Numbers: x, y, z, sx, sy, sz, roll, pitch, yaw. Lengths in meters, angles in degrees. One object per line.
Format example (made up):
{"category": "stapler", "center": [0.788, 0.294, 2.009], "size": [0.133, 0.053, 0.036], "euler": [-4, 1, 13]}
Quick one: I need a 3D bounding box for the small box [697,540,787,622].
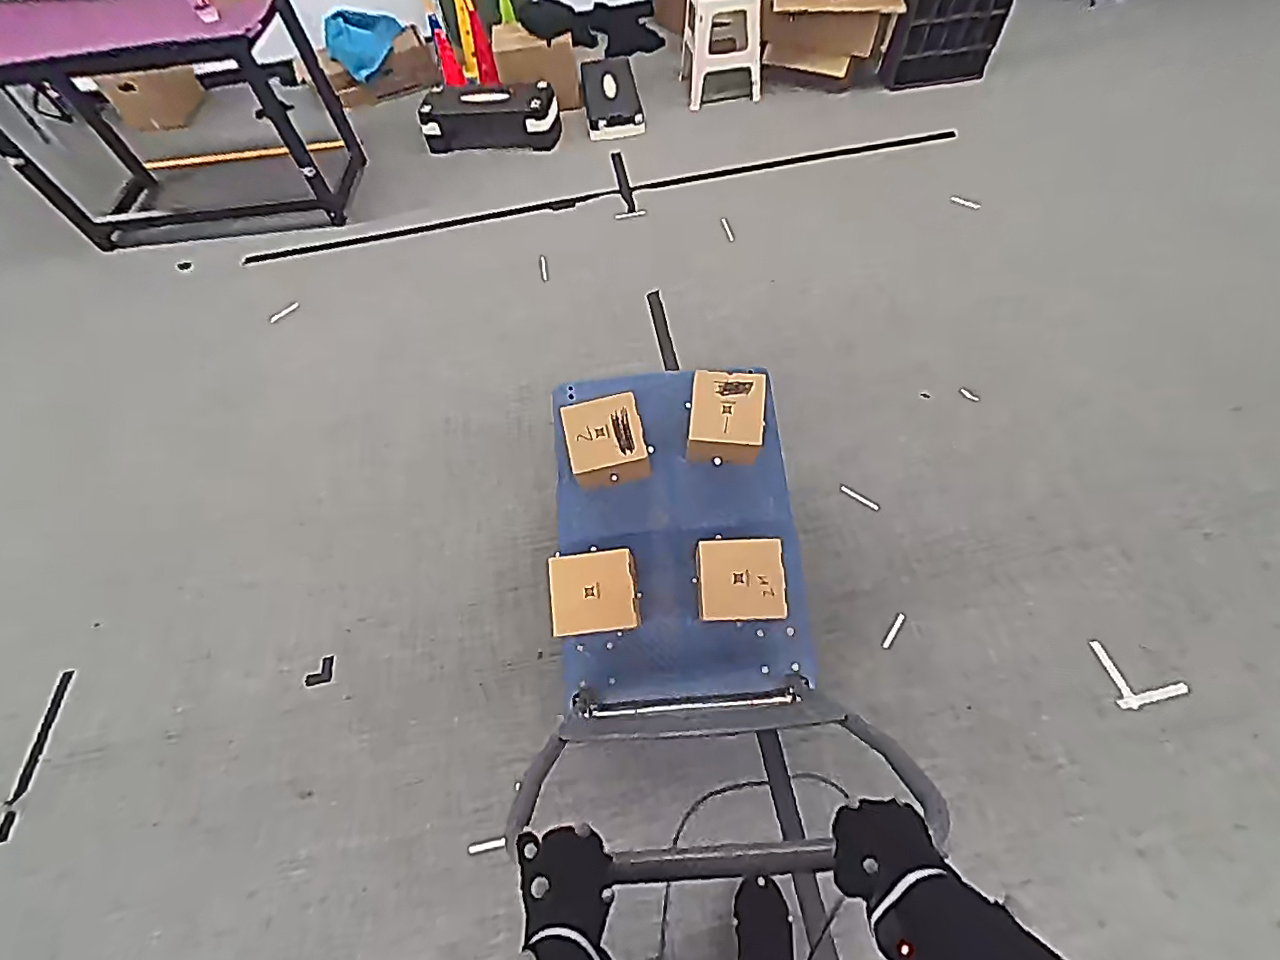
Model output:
{"category": "small box", "center": [0.217, 0.229, 1.200], "size": [0.179, 0.176, 0.168], "euler": [-2, 75, 2]}

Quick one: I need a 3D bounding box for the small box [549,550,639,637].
{"category": "small box", "center": [-0.098, 0.258, 1.209], "size": [0.179, 0.176, 0.168], "euler": [-7, 74, -1]}

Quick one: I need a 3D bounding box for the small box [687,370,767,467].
{"category": "small box", "center": [0.204, -0.143, 1.303], "size": [0.168, 0.176, 0.179], "euler": [5, 76, 4]}
